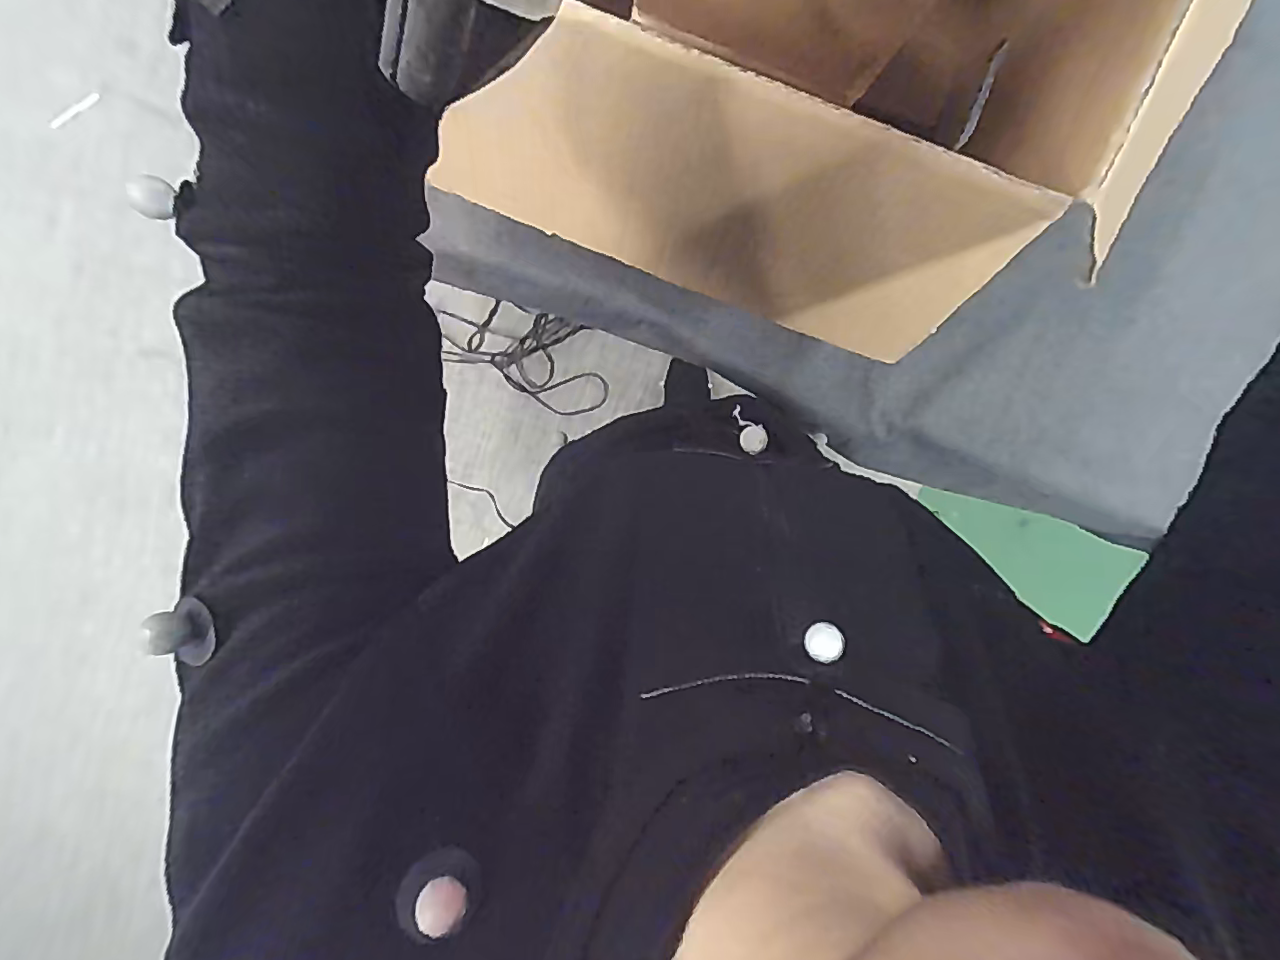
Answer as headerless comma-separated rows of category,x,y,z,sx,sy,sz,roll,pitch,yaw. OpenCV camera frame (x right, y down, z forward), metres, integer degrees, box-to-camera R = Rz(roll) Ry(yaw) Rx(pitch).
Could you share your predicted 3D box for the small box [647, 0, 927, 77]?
small box,0.104,-0.360,0.286,0.179,0.176,0.168,20,101,-2
